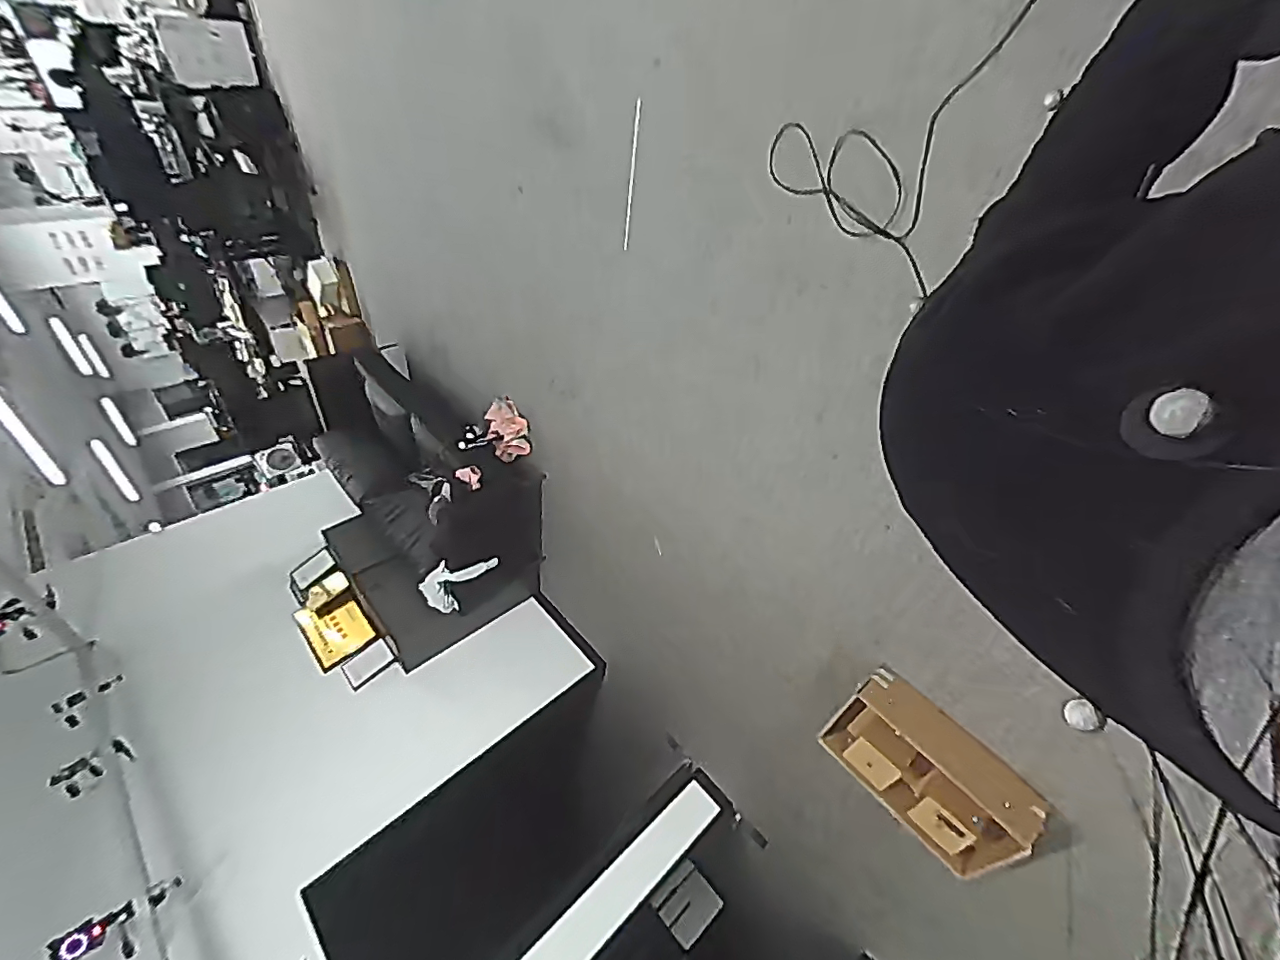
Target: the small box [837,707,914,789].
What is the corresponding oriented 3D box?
[{"bbox_3d":[0.854,0.968,1.959,0.168,0.176,0.179,40,139,27],"label":"small box"}]
